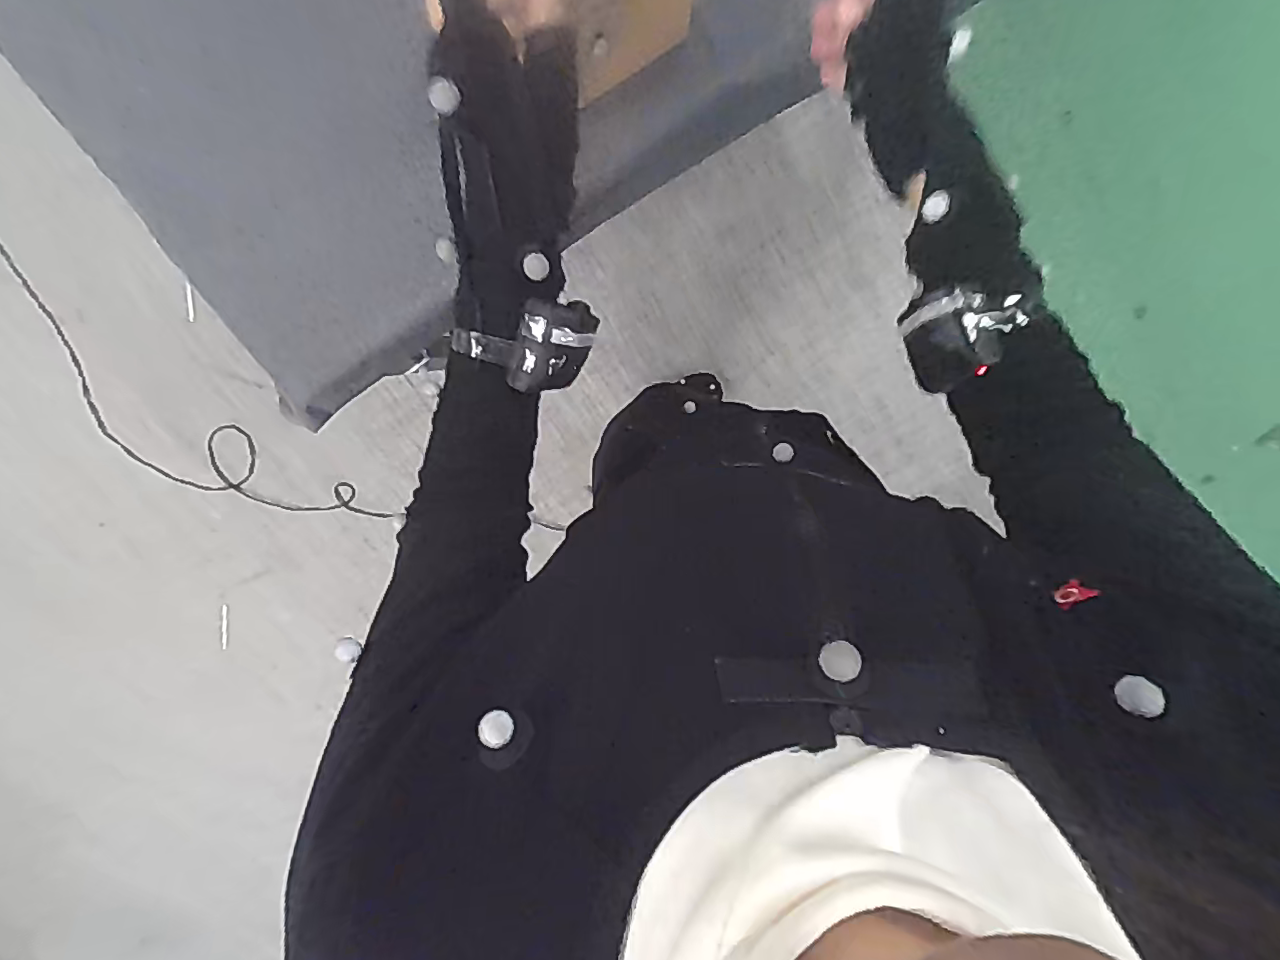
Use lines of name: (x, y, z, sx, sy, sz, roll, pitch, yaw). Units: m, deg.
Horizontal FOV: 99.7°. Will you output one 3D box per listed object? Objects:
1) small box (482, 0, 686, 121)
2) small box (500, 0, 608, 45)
small box: (-0.065, -0.478, 0.493, 0.179, 0.176, 0.168, -30, 101, 9)
small box: (-0.067, -0.438, 0.333, 0.168, 0.176, 0.179, -32, 99, 8)
